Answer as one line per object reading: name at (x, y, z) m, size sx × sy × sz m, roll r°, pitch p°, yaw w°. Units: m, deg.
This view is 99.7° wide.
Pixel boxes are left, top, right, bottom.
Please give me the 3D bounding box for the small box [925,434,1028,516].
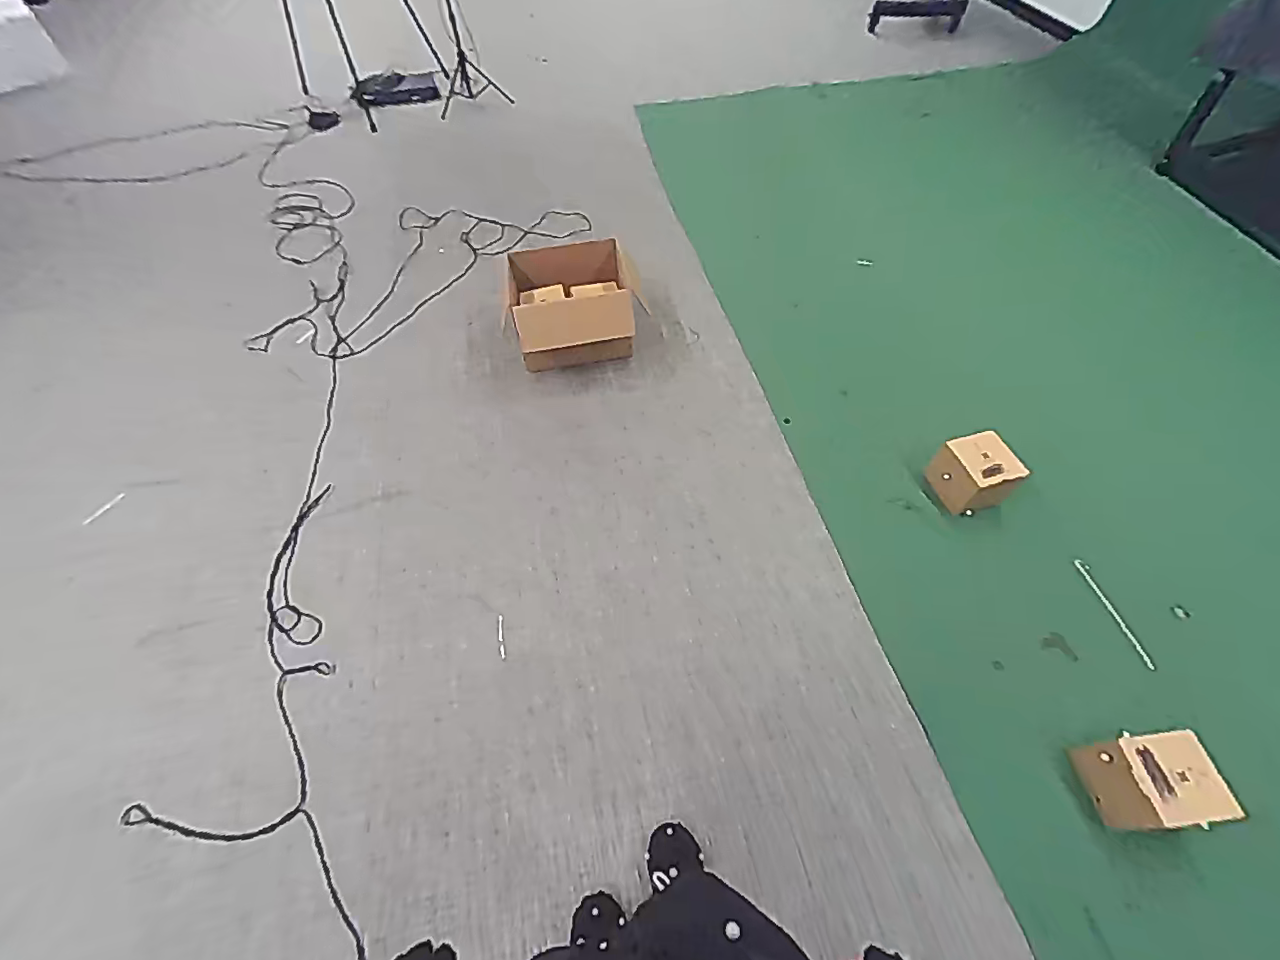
small box at (1.009, -0.007, 1.637) m, size 0.168 × 0.176 × 0.179 m, roll -13°, pitch 55°, yaw -8°
